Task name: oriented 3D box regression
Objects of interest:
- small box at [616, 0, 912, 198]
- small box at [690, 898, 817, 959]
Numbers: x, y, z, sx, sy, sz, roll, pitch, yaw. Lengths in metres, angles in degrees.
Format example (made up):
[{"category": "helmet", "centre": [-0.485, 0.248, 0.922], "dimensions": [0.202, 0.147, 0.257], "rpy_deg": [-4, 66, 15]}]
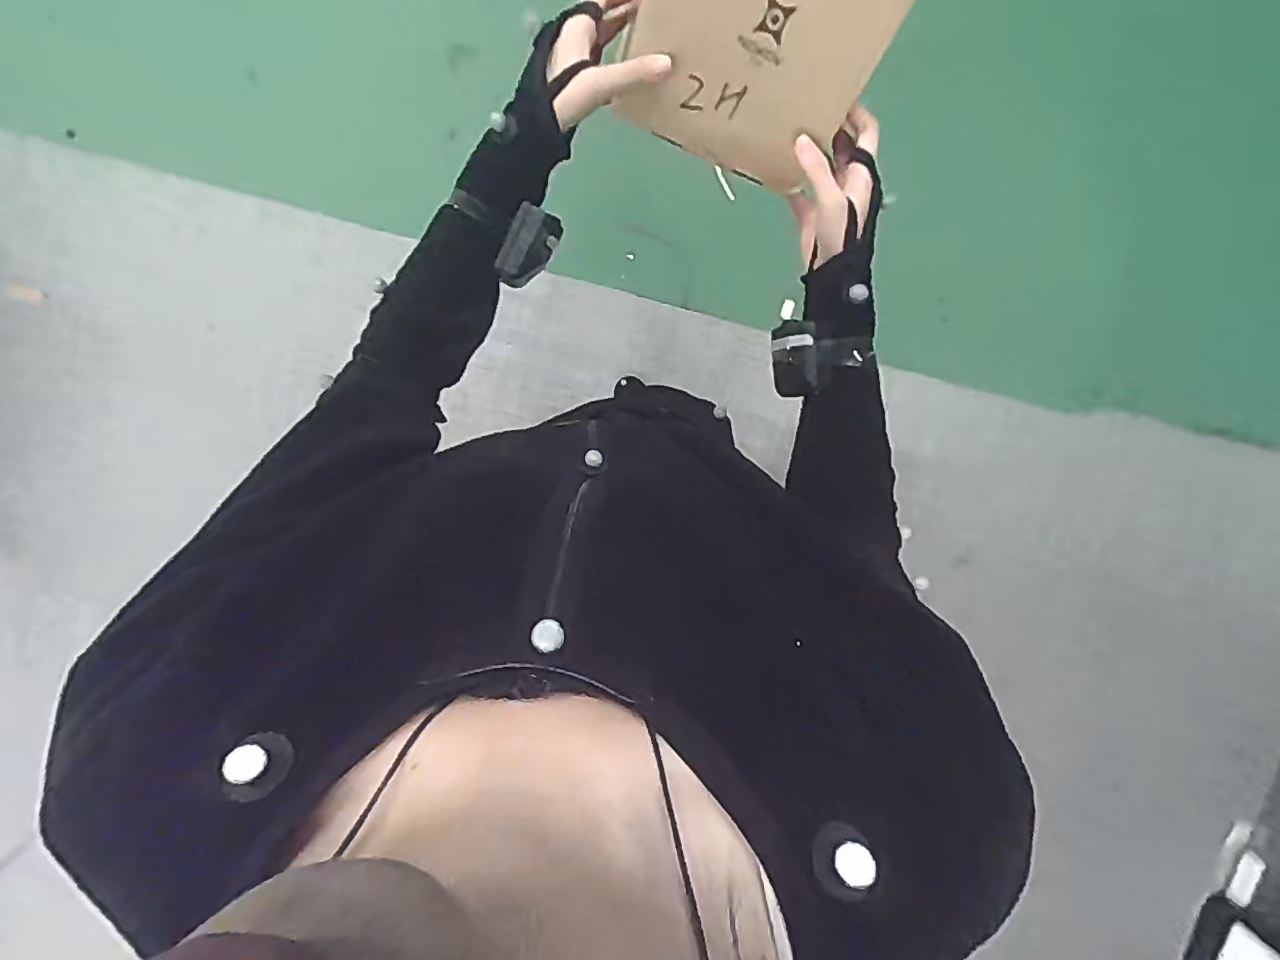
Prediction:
[{"category": "small box", "centre": [0.086, -0.369, 0.424], "dimensions": [0.168, 0.176, 0.179], "rpy_deg": [15, 136, -17]}, {"category": "small box", "centre": [0.168, 0.776, 0.791], "dimensions": [0.168, 0.176, 0.179], "rpy_deg": [19, 97, -3]}]
